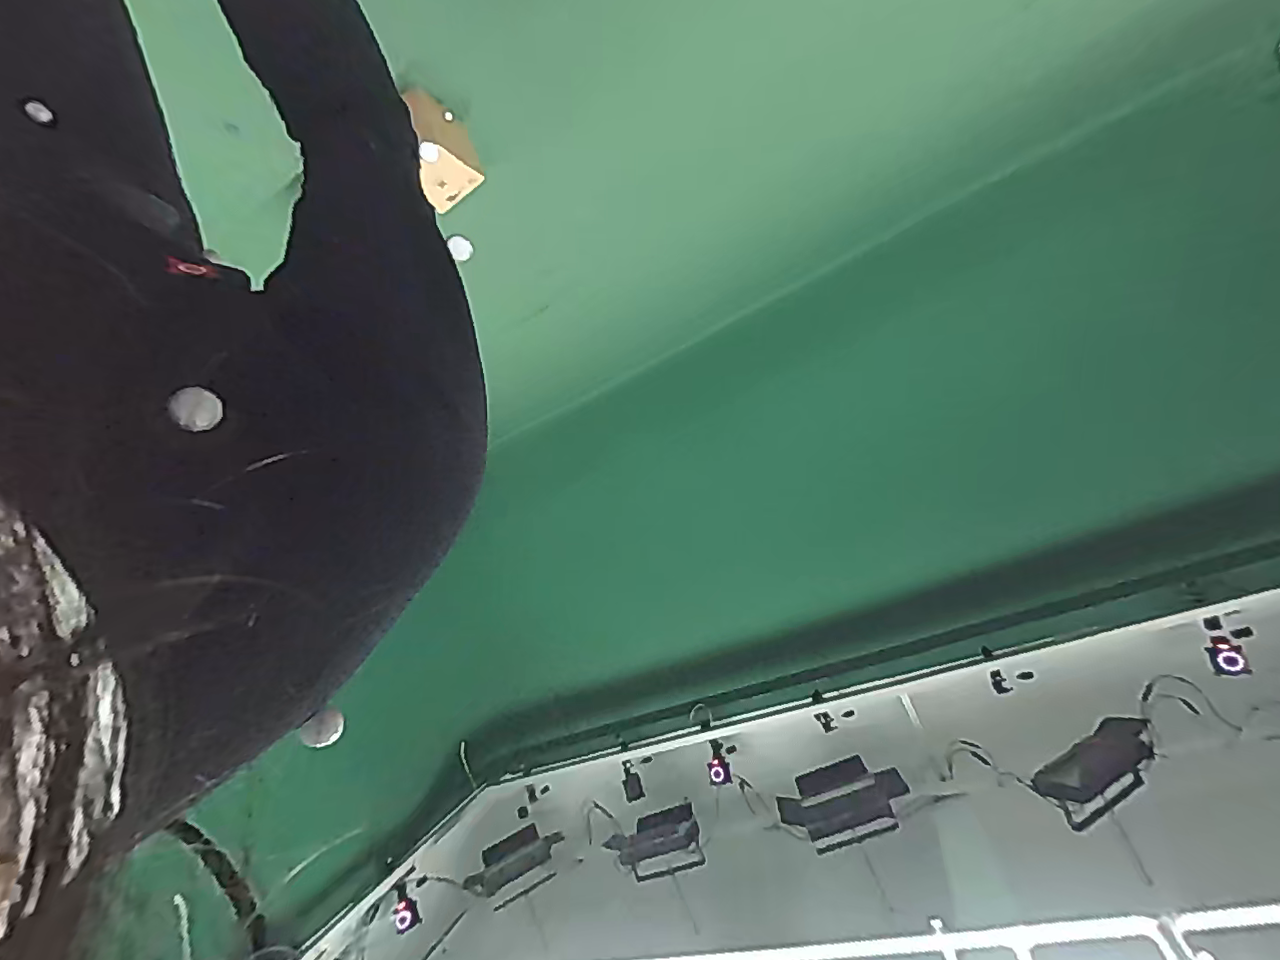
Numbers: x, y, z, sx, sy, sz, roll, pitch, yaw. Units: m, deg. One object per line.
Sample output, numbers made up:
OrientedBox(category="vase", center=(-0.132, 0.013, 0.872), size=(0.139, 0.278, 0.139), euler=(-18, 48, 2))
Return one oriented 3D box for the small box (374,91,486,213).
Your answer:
OrientedBox(category="small box", center=(-0.526, -0.820, 1.352), size=(0.168, 0.176, 0.179), euler=(-24, 173, 22))
